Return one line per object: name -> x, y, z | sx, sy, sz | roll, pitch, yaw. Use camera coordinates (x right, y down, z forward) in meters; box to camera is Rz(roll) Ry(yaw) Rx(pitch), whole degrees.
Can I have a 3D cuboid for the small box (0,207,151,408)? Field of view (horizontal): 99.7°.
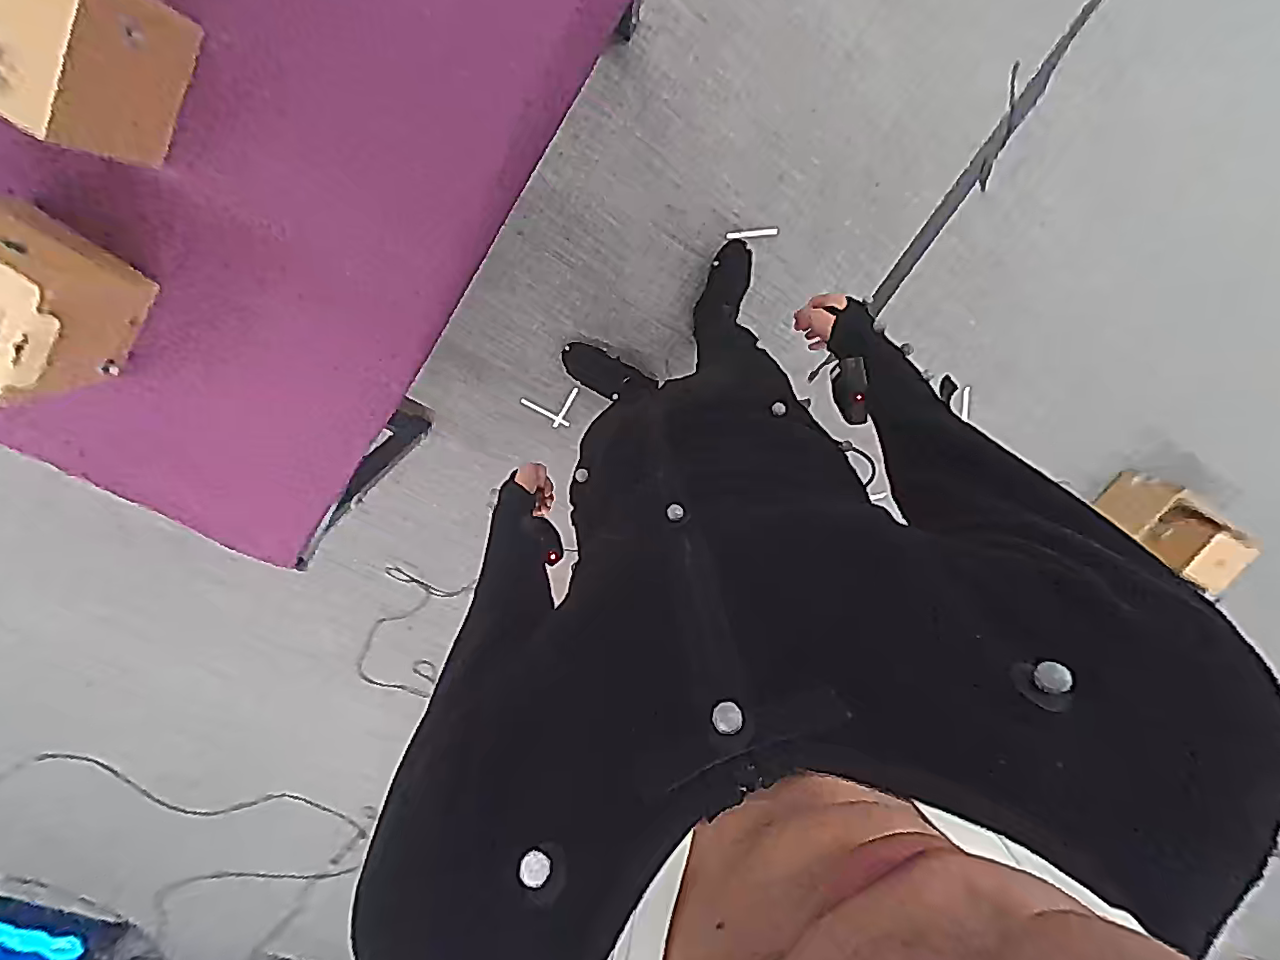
small box -> -0.768, -0.219, 0.661 | 0.179, 0.176, 0.168 | 35, 104, -16
